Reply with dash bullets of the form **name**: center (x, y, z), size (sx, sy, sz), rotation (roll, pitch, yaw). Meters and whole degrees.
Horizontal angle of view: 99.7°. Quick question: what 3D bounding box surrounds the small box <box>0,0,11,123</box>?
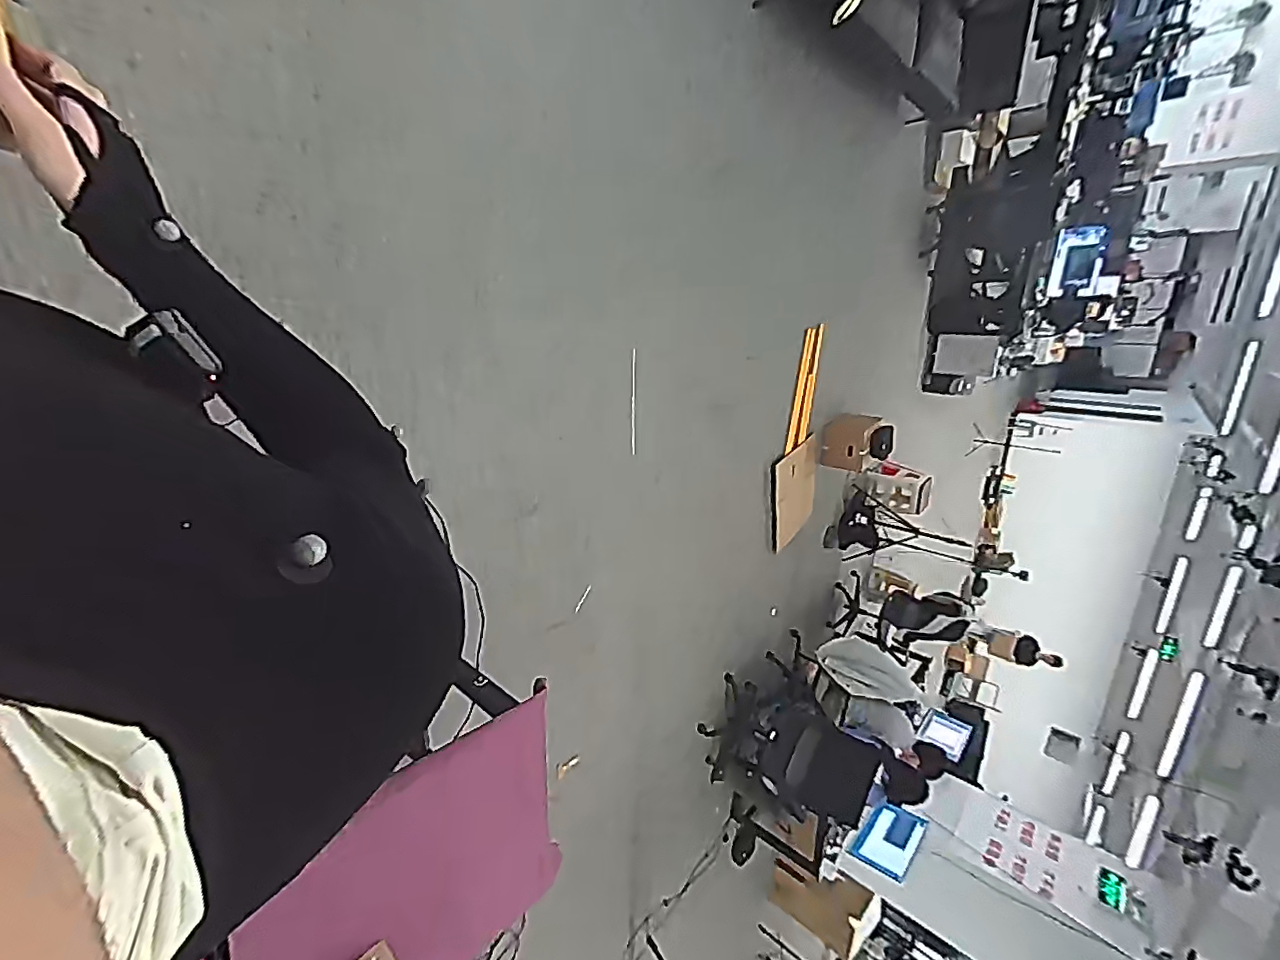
- **small box**: center (-0.547, -0.375, 0.352), size (0.168, 0.176, 0.179), rotation (-9, 105, -47)
